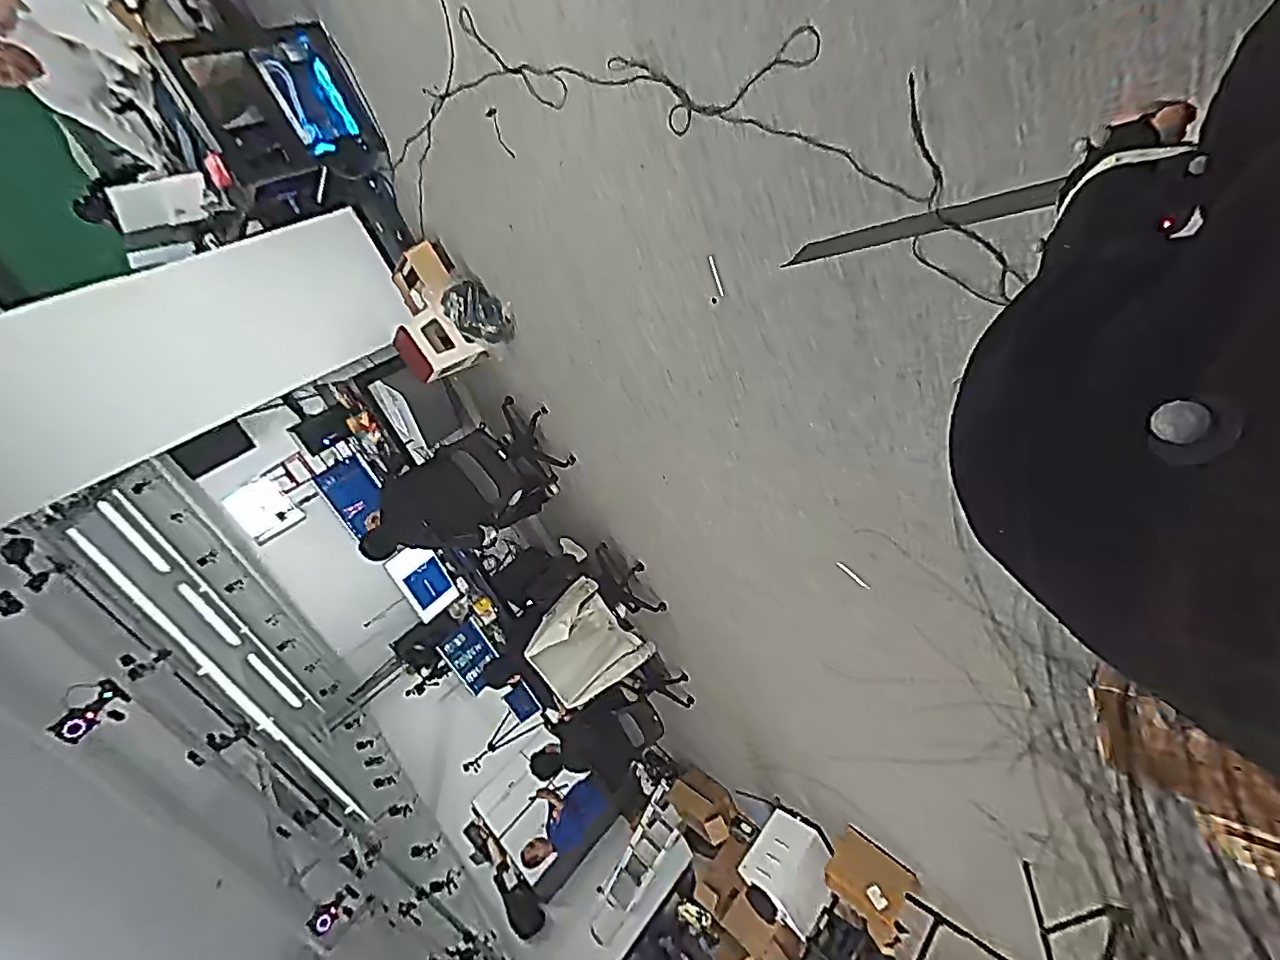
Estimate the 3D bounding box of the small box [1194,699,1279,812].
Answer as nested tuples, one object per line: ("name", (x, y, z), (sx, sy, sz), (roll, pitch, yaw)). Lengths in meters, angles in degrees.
("small box", (1.582, 0.715, 1.411), (0.168, 0.176, 0.179), (1, 125, 52))
